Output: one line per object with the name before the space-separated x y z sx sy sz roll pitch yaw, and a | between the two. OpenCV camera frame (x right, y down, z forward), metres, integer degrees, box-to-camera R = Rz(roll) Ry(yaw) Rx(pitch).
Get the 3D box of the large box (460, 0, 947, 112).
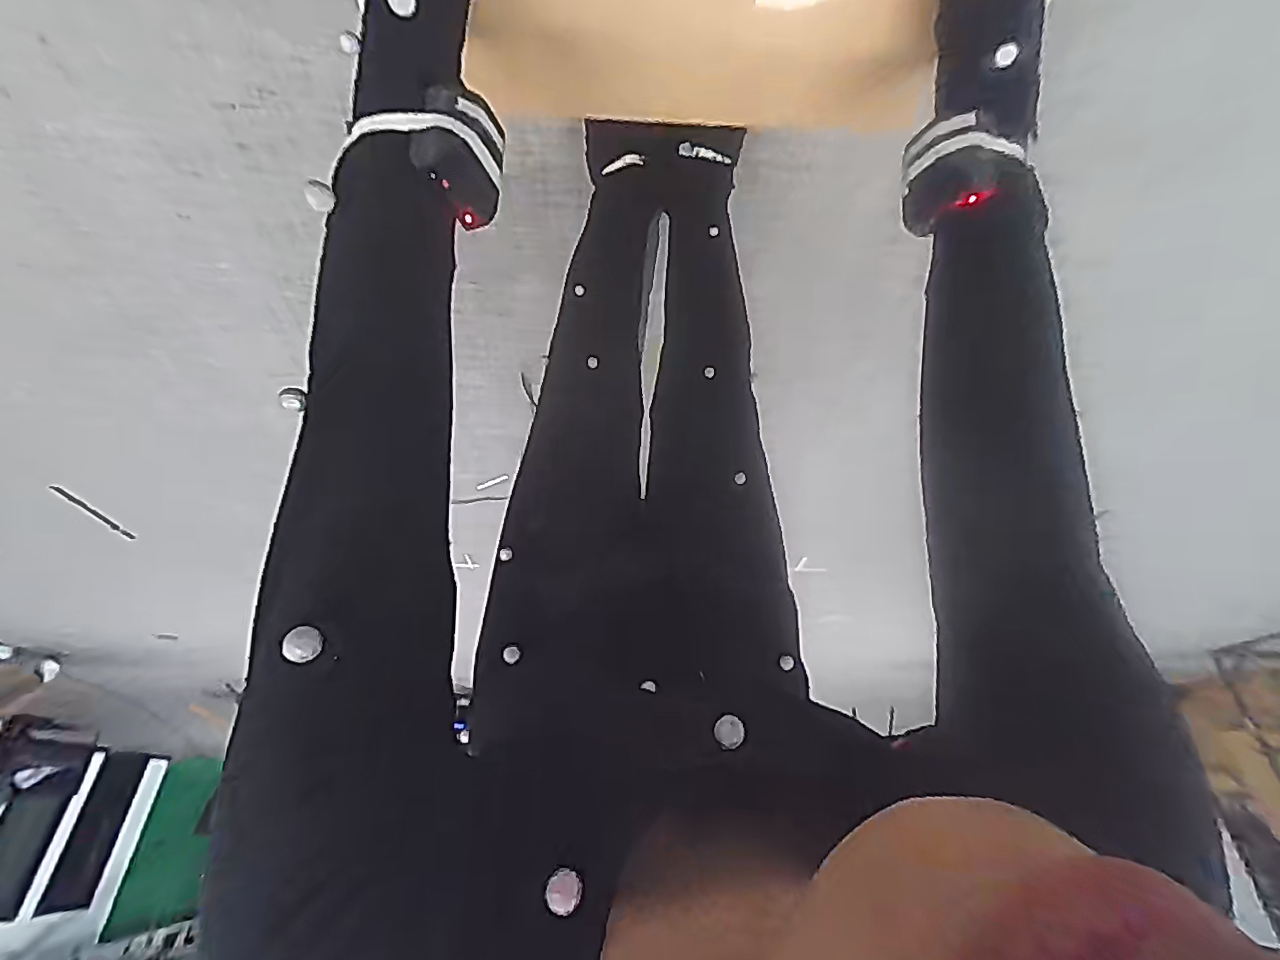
large box | 0.049 -0.551 0.456 0.408 0.320 0.320 0 147 -3
